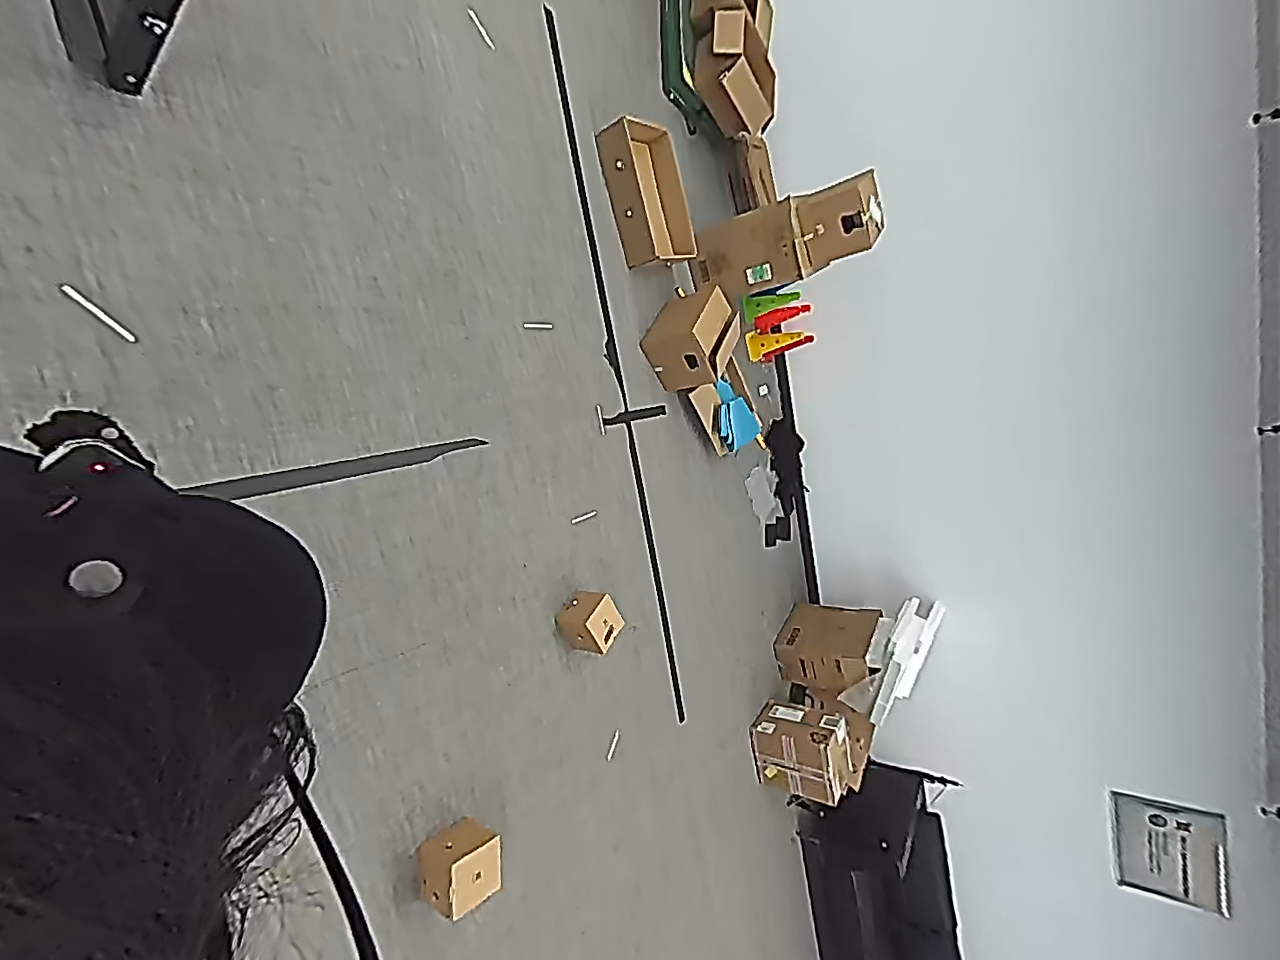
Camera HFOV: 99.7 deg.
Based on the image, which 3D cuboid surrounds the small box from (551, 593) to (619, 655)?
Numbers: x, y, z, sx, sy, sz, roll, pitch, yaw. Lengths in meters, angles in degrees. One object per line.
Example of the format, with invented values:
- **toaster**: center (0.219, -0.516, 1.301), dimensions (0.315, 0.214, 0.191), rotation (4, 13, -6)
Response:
- **small box**: center (-0.220, 0.568, 2.154), dimensions (0.168, 0.176, 0.179), rotation (-51, 125, -43)

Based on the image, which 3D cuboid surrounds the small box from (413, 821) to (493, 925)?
- **small box**: center (-0.568, 1.179, 1.637), dimensions (0.179, 0.176, 0.168), rotation (0, 88, -54)
